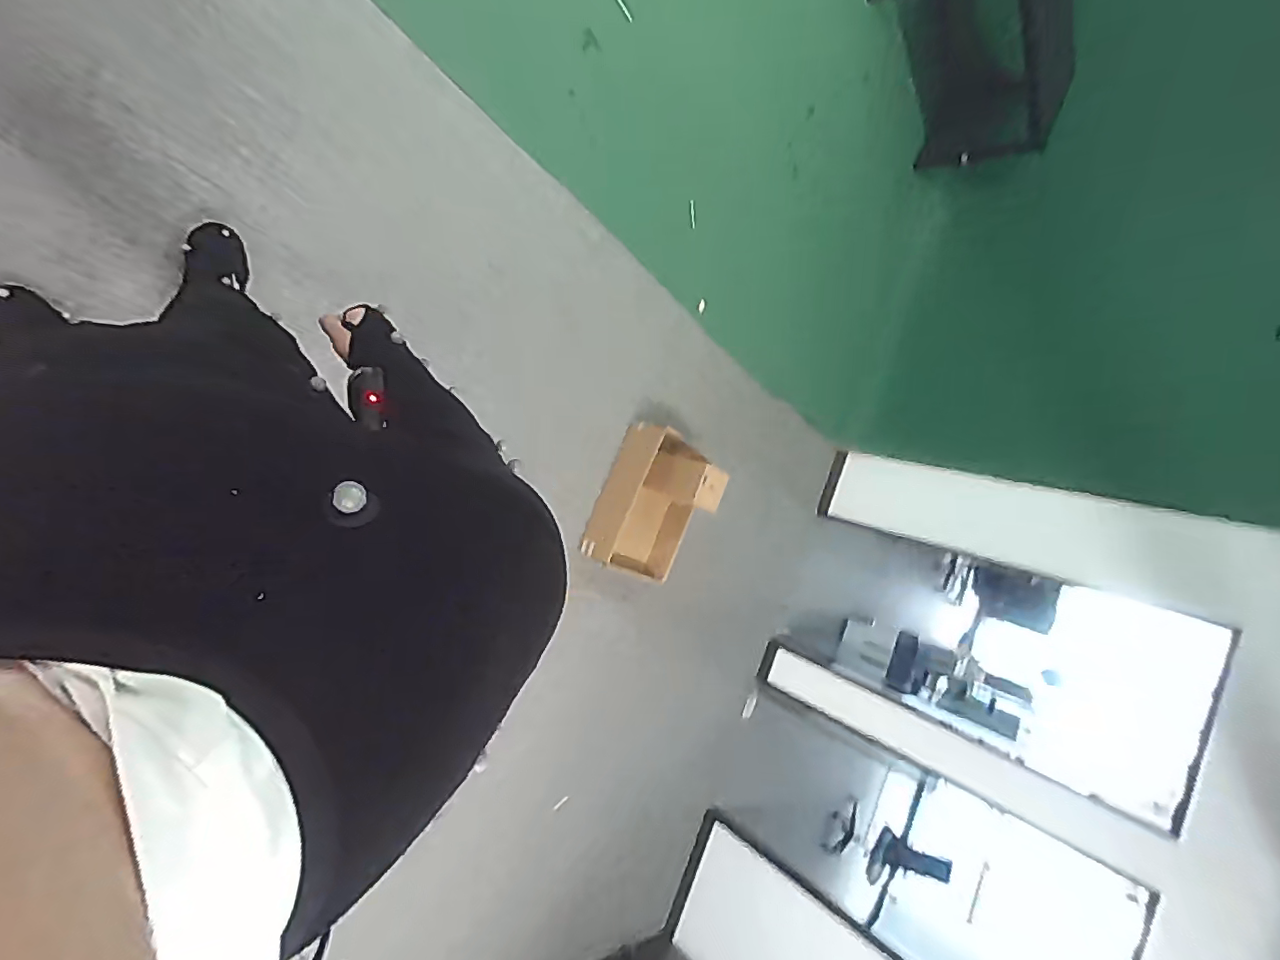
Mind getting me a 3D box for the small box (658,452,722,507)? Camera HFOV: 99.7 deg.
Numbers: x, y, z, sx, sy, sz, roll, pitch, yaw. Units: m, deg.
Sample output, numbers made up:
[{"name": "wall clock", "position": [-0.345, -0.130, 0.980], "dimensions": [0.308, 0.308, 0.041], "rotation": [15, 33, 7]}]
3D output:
[{"name": "small box", "position": [0.206, -0.006, 2.240], "dimensions": [0.179, 0.176, 0.168], "rotation": [26, 84, -49]}]
